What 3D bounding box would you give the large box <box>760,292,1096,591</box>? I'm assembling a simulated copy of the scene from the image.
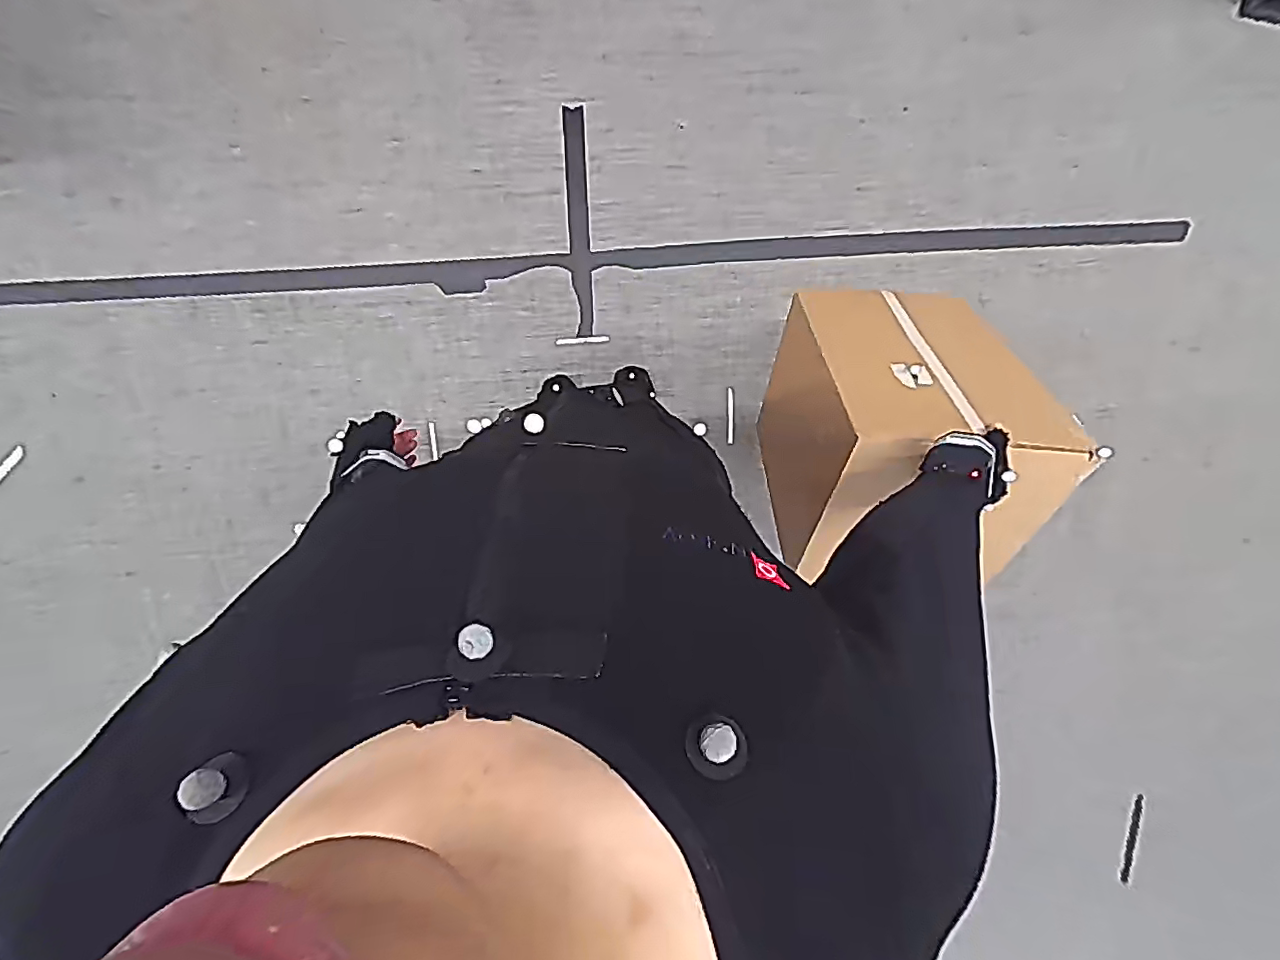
[{"bbox_3d":[0.416,-0.070,0.919,0.320,0.408,0.320,4,136,-2],"label":"large box"}]
